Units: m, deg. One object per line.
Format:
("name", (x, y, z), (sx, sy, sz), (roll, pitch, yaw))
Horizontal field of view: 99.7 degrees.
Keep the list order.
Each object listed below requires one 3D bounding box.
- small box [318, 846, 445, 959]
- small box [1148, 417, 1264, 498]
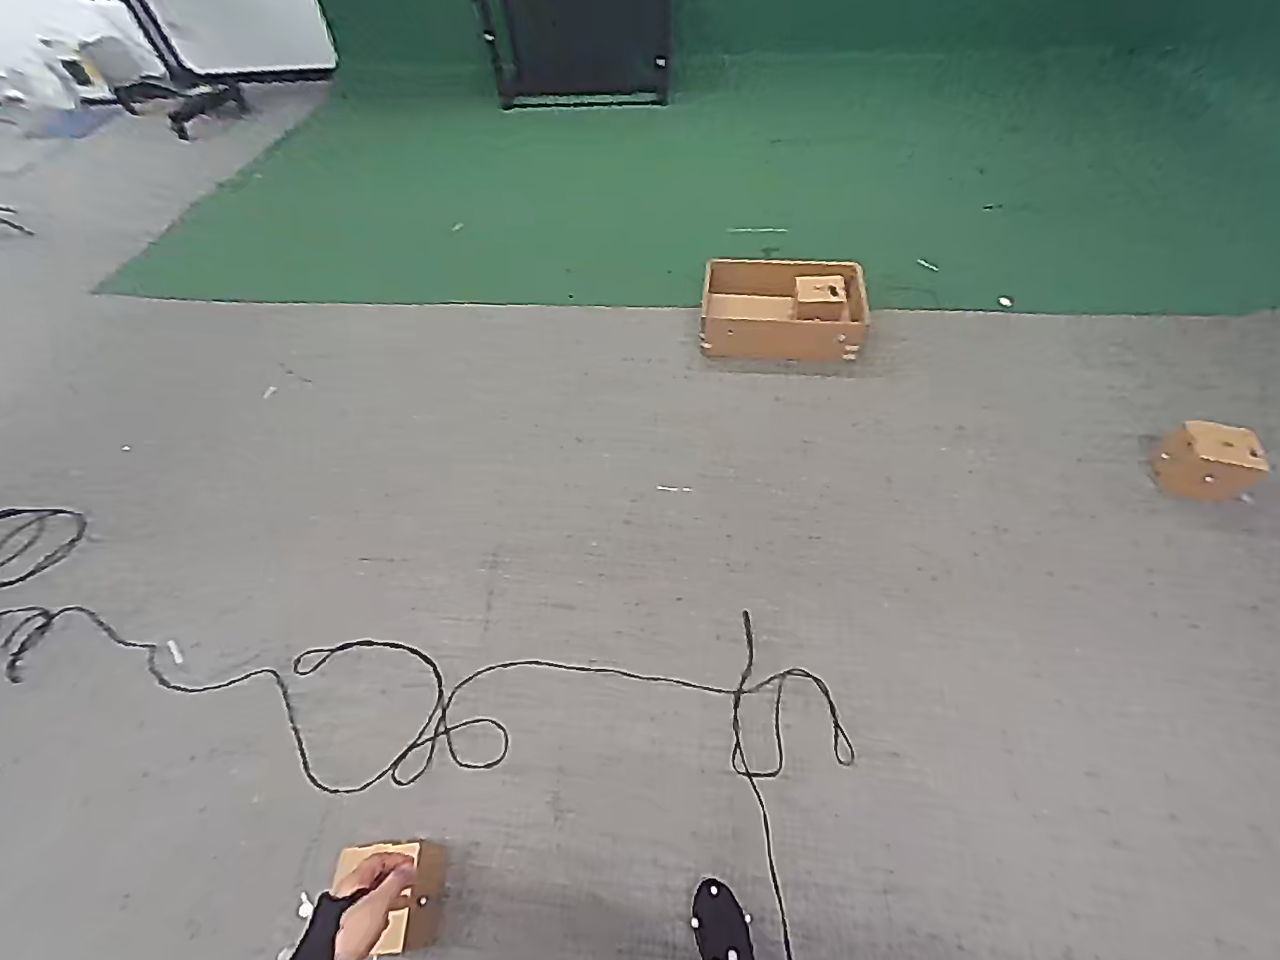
("small box", (-0.519, 0.868, 1.117), (0.168, 0.176, 0.179), (-5, 52, 1))
("small box", (1.712, -0.065, 1.655), (0.179, 0.176, 0.168), (13, 55, 14))
